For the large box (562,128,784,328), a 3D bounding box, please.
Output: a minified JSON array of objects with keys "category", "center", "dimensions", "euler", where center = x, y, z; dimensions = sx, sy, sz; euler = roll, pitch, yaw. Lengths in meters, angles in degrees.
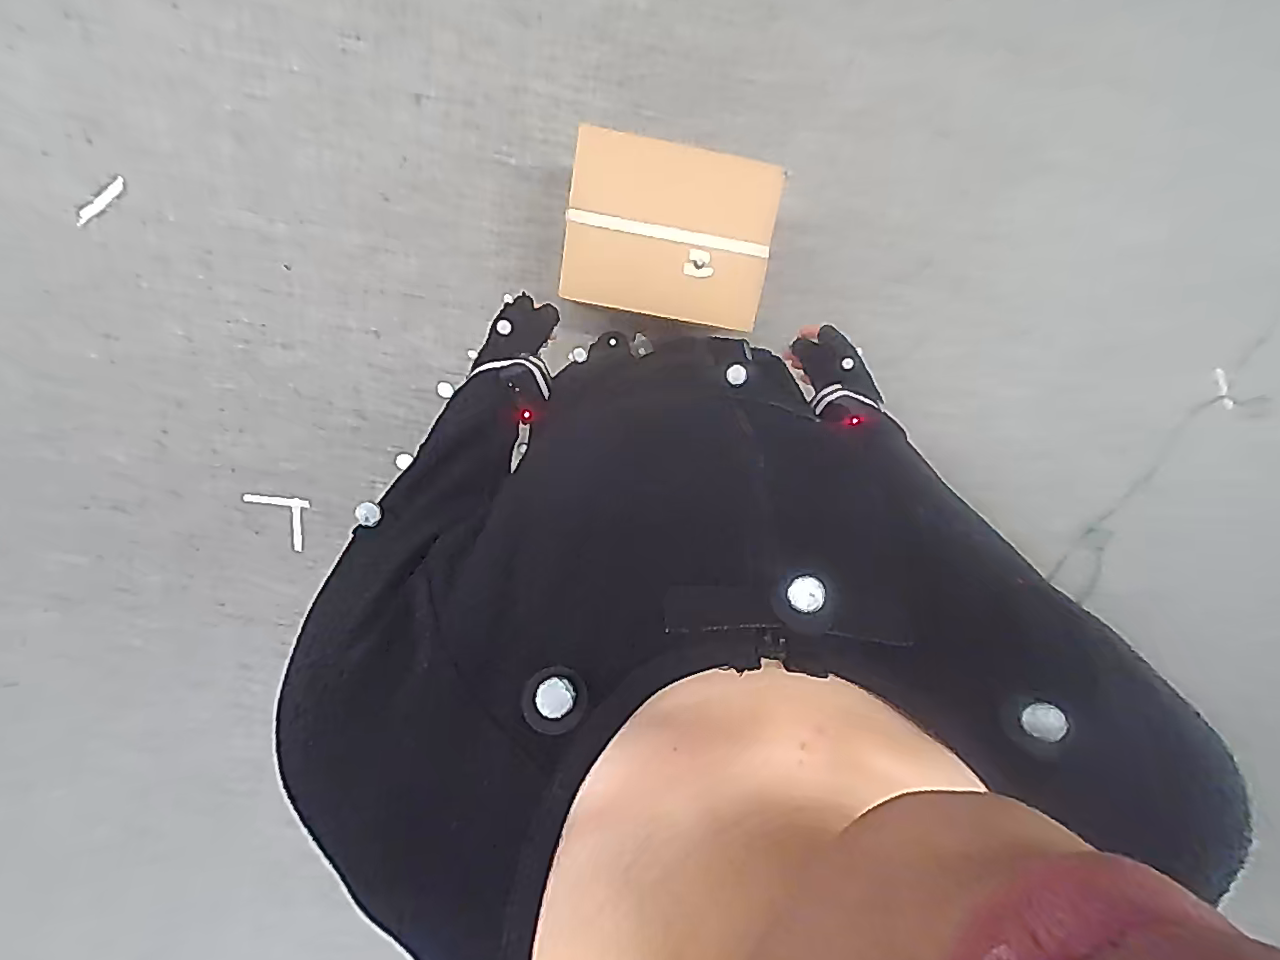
[{"category":"large box","center":[0.051,-0.525,1.202],"dimensions":[0.408,0.320,0.320],"euler":[8,106,-6]}]
